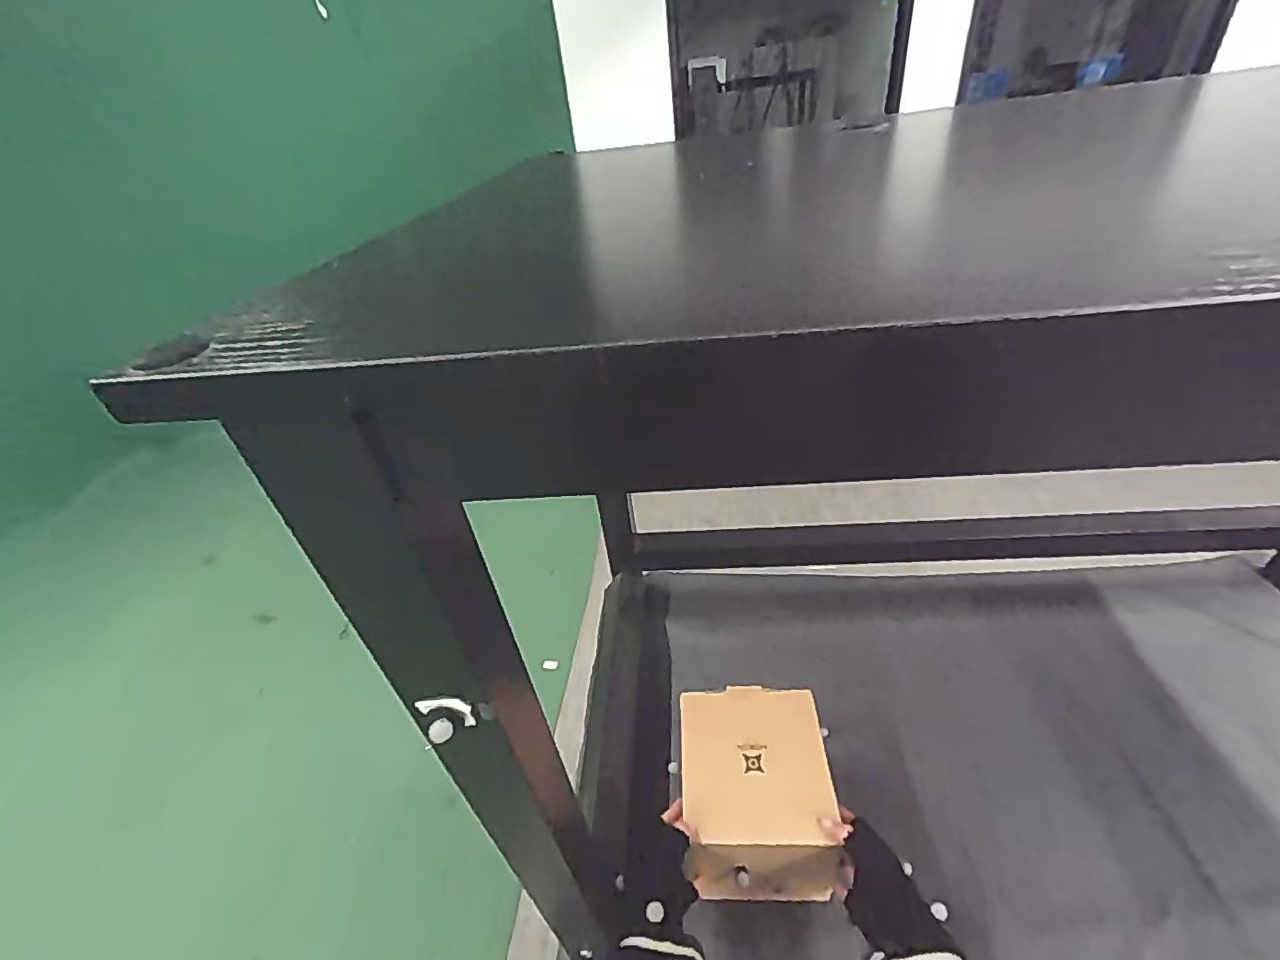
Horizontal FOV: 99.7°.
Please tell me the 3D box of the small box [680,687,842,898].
[{"bbox_3d":[0.137,0.379,0.658,0.168,0.176,0.179,-4,35,6],"label":"small box"}]
